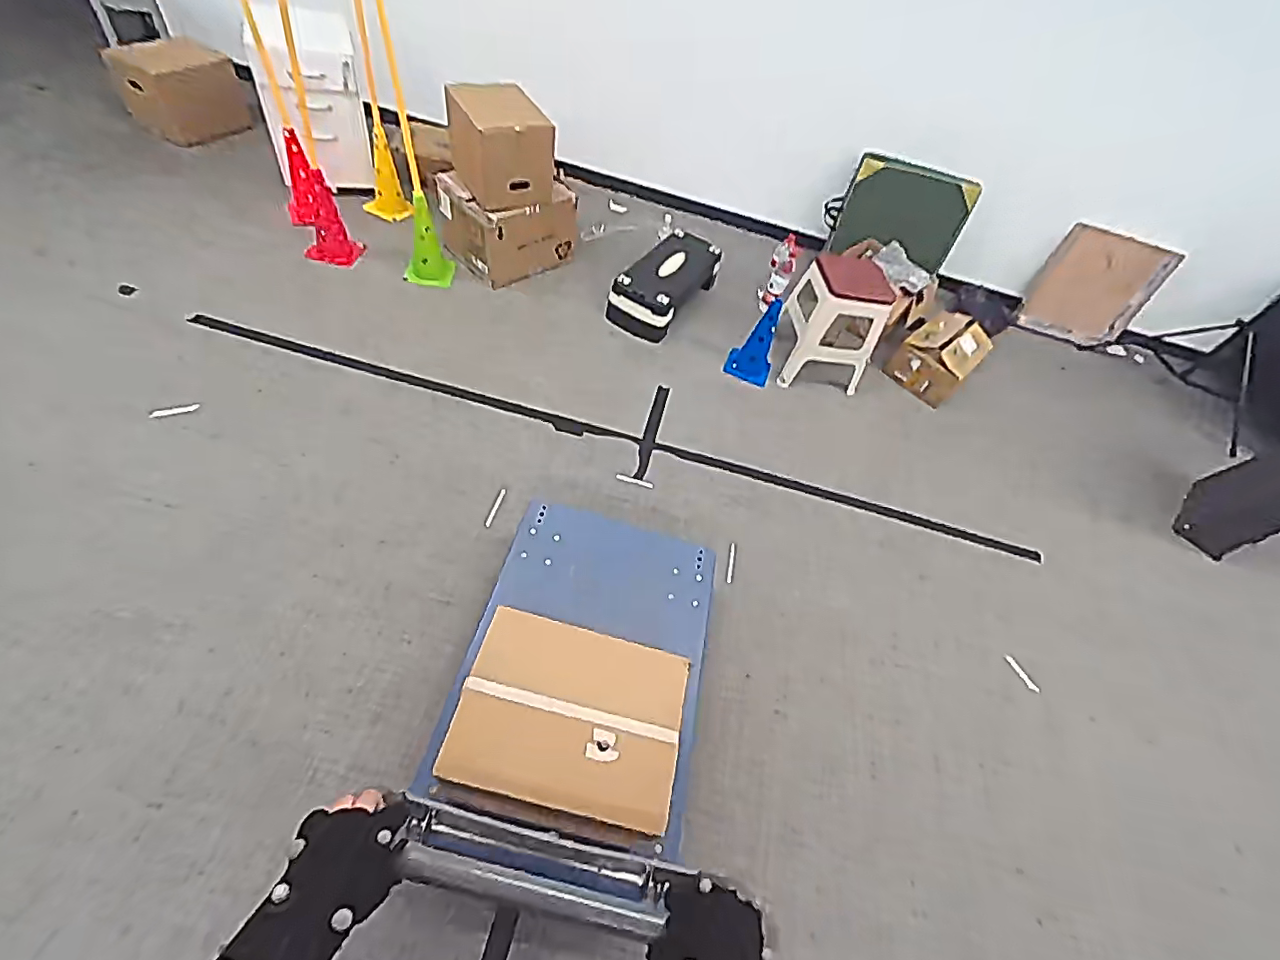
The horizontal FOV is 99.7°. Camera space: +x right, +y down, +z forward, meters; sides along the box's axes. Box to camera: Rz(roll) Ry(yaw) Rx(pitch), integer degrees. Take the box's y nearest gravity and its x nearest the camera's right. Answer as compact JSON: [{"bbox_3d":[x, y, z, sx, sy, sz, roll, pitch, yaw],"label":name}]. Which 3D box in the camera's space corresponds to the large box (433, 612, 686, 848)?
[{"bbox_3d":[-0.158,0.516,1.102,0.408,0.320,0.320,17,52,-3],"label":"large box"}]
